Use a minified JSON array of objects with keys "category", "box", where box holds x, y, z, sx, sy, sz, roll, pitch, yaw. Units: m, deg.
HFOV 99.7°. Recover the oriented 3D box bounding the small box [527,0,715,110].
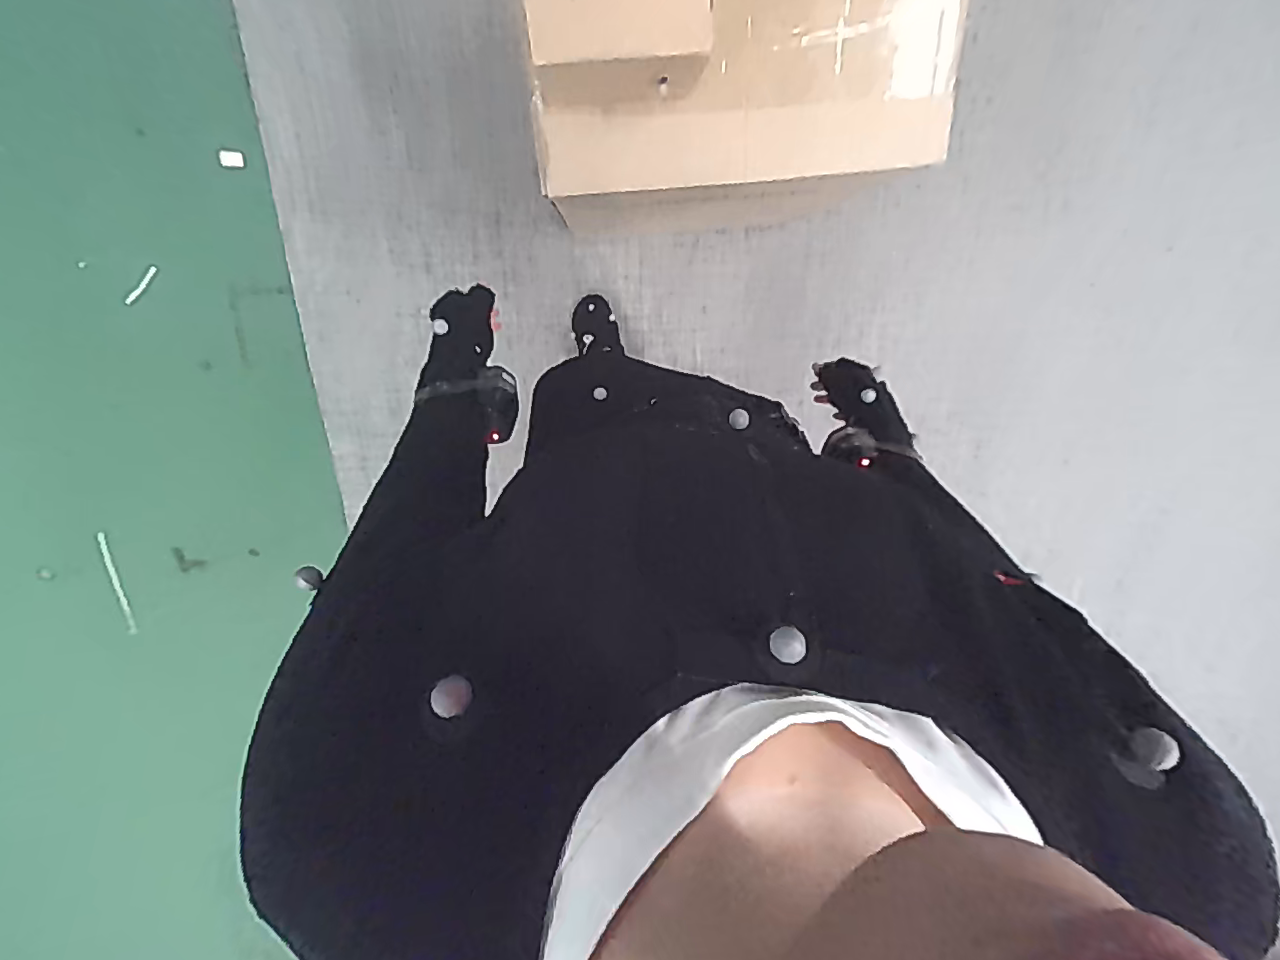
[{"category":"small box","box":[-0.025,-0.505,0.561,0.179,0.176,0.168,-6,112,0]}]
